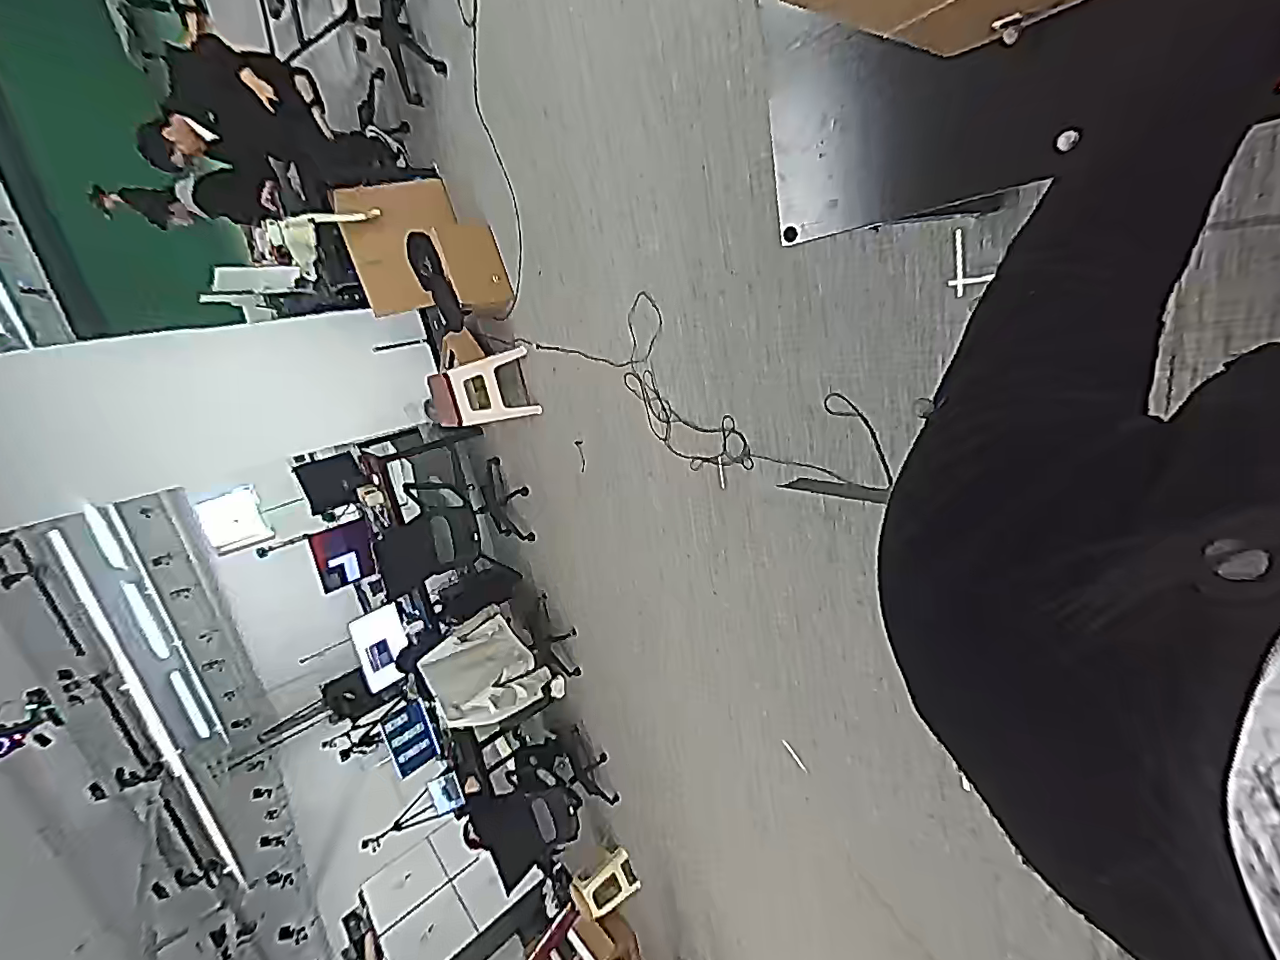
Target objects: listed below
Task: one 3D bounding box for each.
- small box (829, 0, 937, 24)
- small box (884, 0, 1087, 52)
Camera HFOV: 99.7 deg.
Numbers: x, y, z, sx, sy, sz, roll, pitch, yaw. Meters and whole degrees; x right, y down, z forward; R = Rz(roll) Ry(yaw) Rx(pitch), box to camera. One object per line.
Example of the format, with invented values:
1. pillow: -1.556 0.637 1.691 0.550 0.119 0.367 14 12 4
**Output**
1. small box: 0.208 -0.470 0.383 0.179 0.176 0.168 8 115 50
2. small box: 0.332 -0.524 0.478 0.168 0.176 0.179 10 117 51
